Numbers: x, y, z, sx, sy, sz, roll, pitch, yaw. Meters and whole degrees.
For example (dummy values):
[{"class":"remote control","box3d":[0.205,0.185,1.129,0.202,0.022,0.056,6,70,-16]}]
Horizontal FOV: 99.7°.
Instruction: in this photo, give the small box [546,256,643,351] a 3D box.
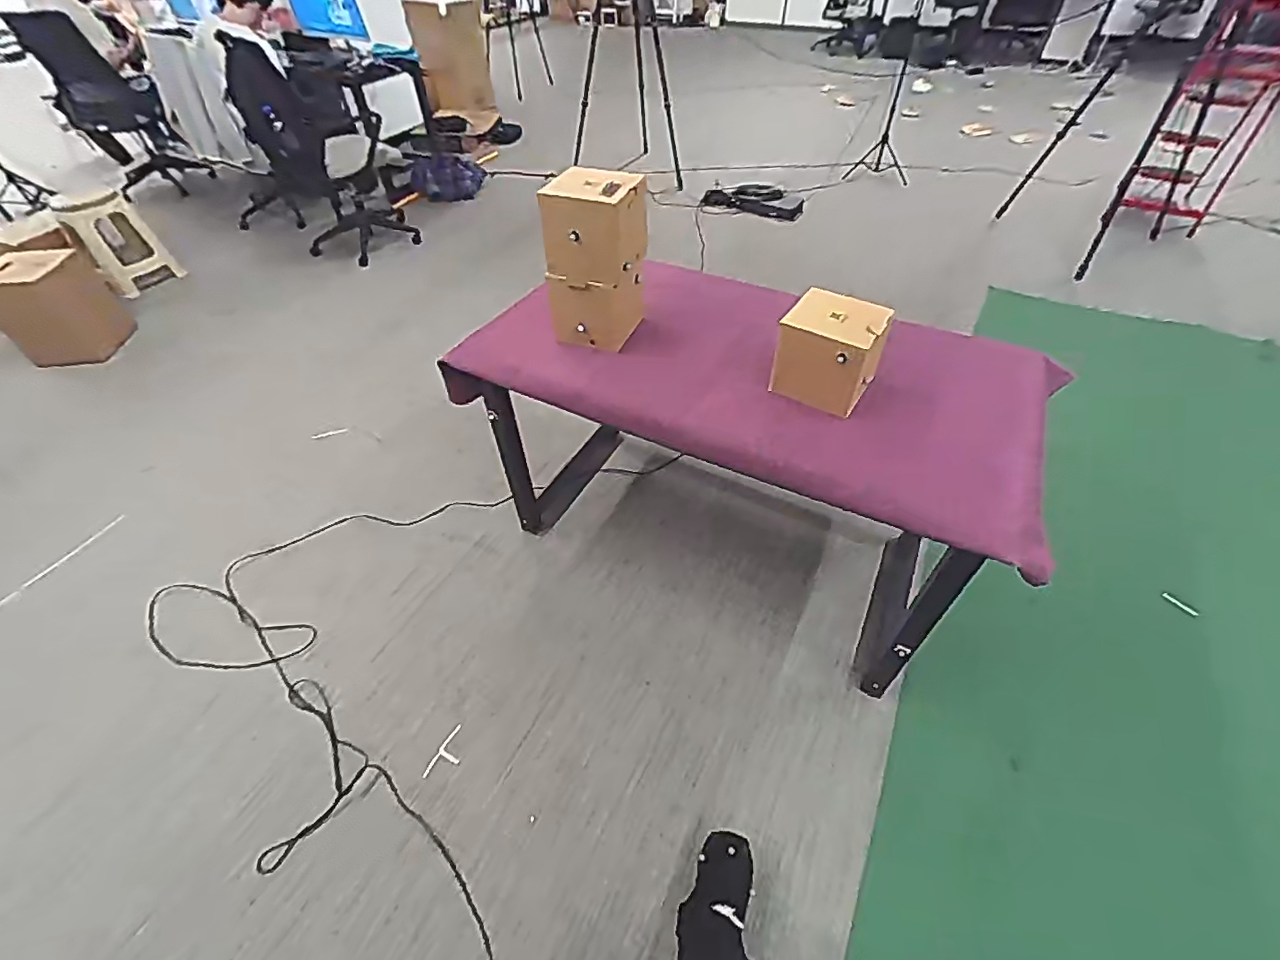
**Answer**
[{"class":"small box","box3d":[-0.100,-0.432,1.273,0.168,0.176,0.179,16,50,16]}]

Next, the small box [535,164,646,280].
[{"class":"small box","box3d":[-0.097,-0.546,1.150,0.179,0.176,0.168,18,49,17]}]

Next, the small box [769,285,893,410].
[{"class":"small box","box3d":[0.383,-0.269,1.107,0.179,0.176,0.168,26,54,23]}]
